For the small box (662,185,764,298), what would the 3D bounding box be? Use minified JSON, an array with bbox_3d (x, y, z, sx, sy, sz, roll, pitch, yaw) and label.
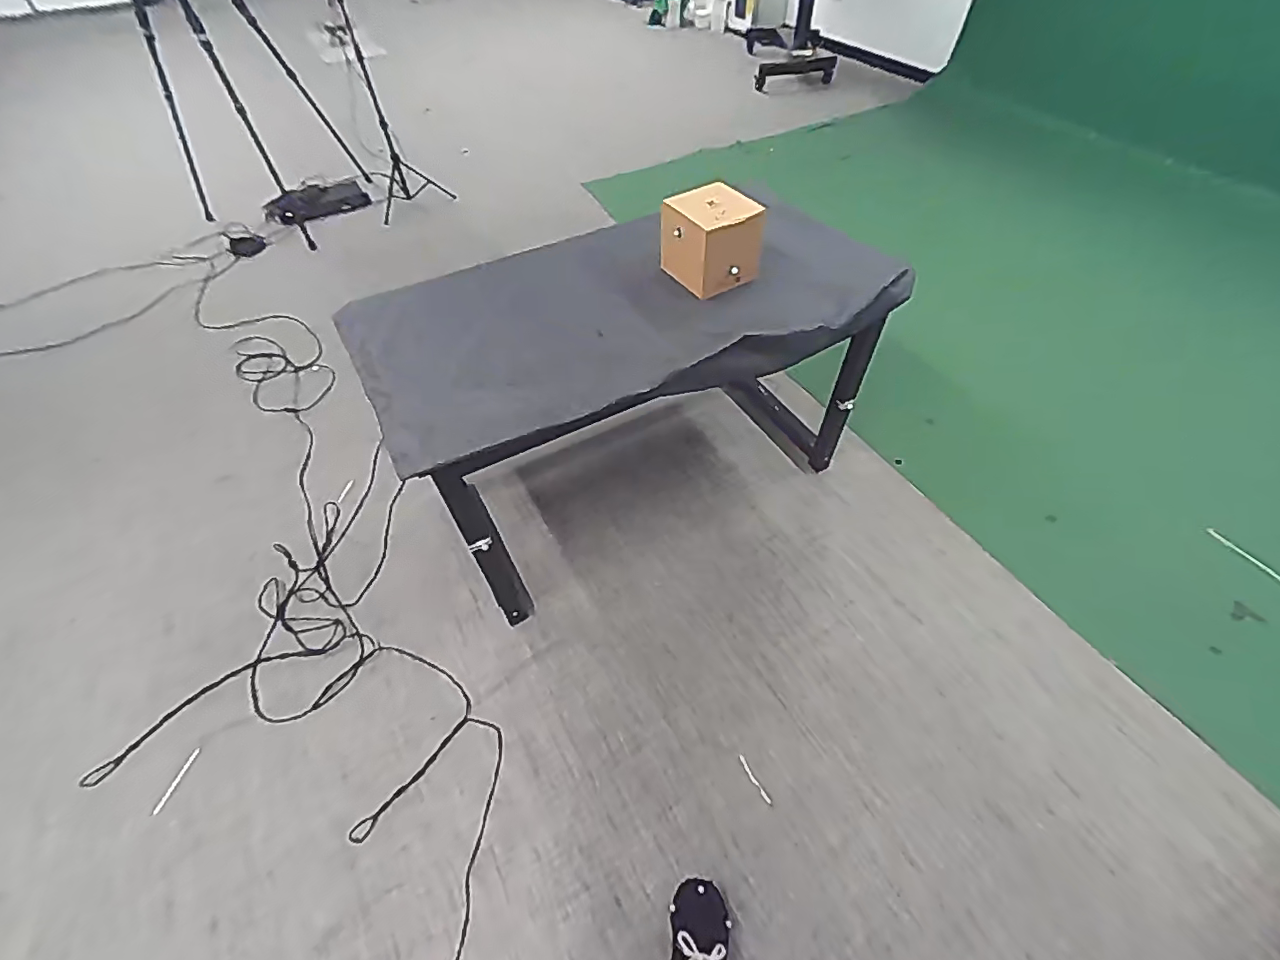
[{"bbox_3d":[0.161,-0.555,1.265,0.168,0.176,0.179,-27,56,-18],"label":"small box"}]
